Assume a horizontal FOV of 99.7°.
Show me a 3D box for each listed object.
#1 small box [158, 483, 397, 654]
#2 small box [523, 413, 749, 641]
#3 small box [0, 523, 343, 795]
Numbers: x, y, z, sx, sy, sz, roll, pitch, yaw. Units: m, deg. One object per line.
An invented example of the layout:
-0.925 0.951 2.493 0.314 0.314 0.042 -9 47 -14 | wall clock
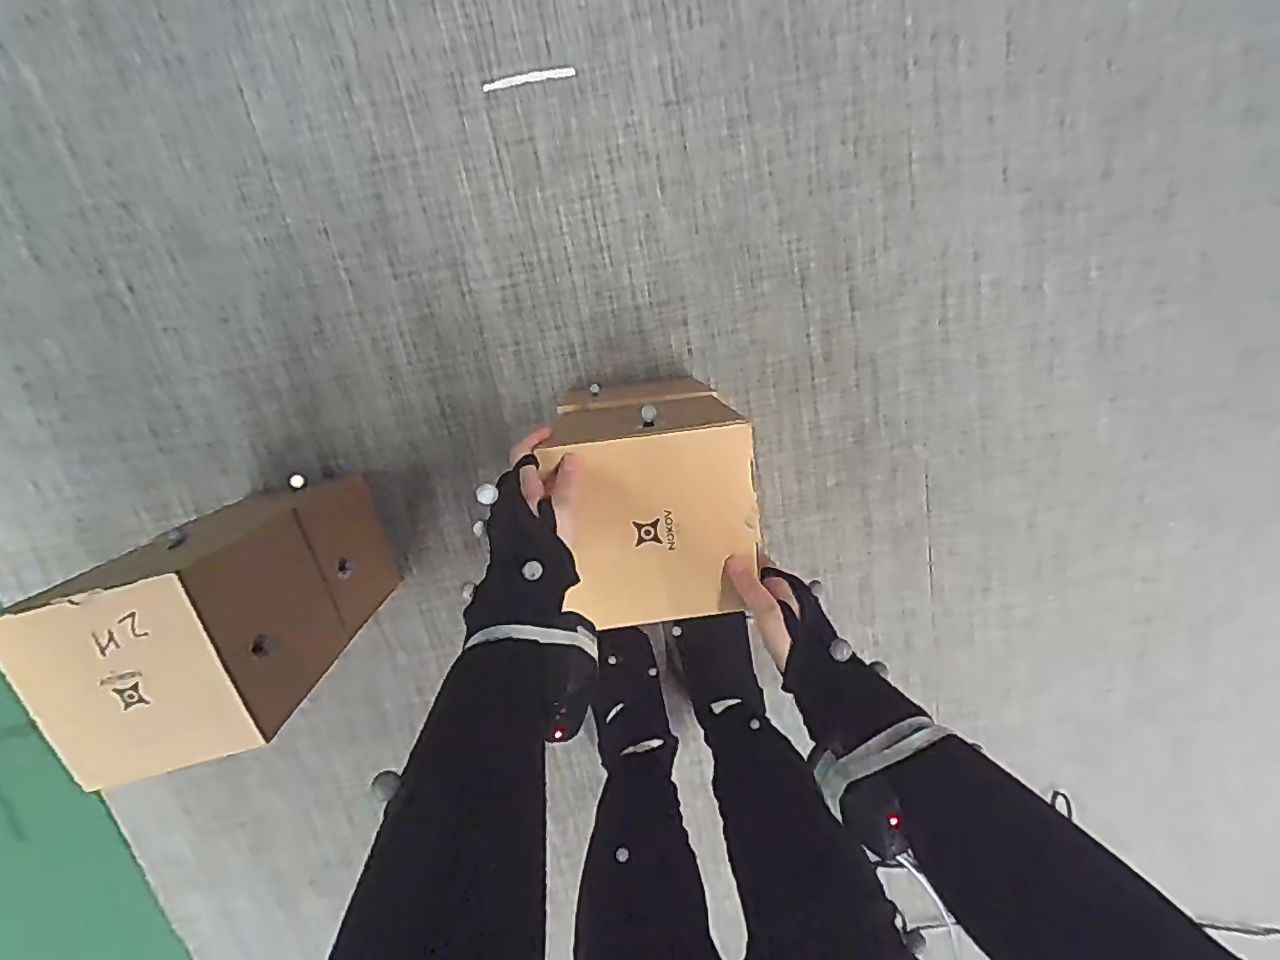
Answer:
-0.443 0.120 0.698 0.168 0.176 0.179 -13 104 0 | small box
-0.002 0.033 0.529 0.179 0.176 0.168 -8 105 -1 | small box
-0.435 0.164 0.540 0.168 0.176 0.179 -14 105 -1 | small box
